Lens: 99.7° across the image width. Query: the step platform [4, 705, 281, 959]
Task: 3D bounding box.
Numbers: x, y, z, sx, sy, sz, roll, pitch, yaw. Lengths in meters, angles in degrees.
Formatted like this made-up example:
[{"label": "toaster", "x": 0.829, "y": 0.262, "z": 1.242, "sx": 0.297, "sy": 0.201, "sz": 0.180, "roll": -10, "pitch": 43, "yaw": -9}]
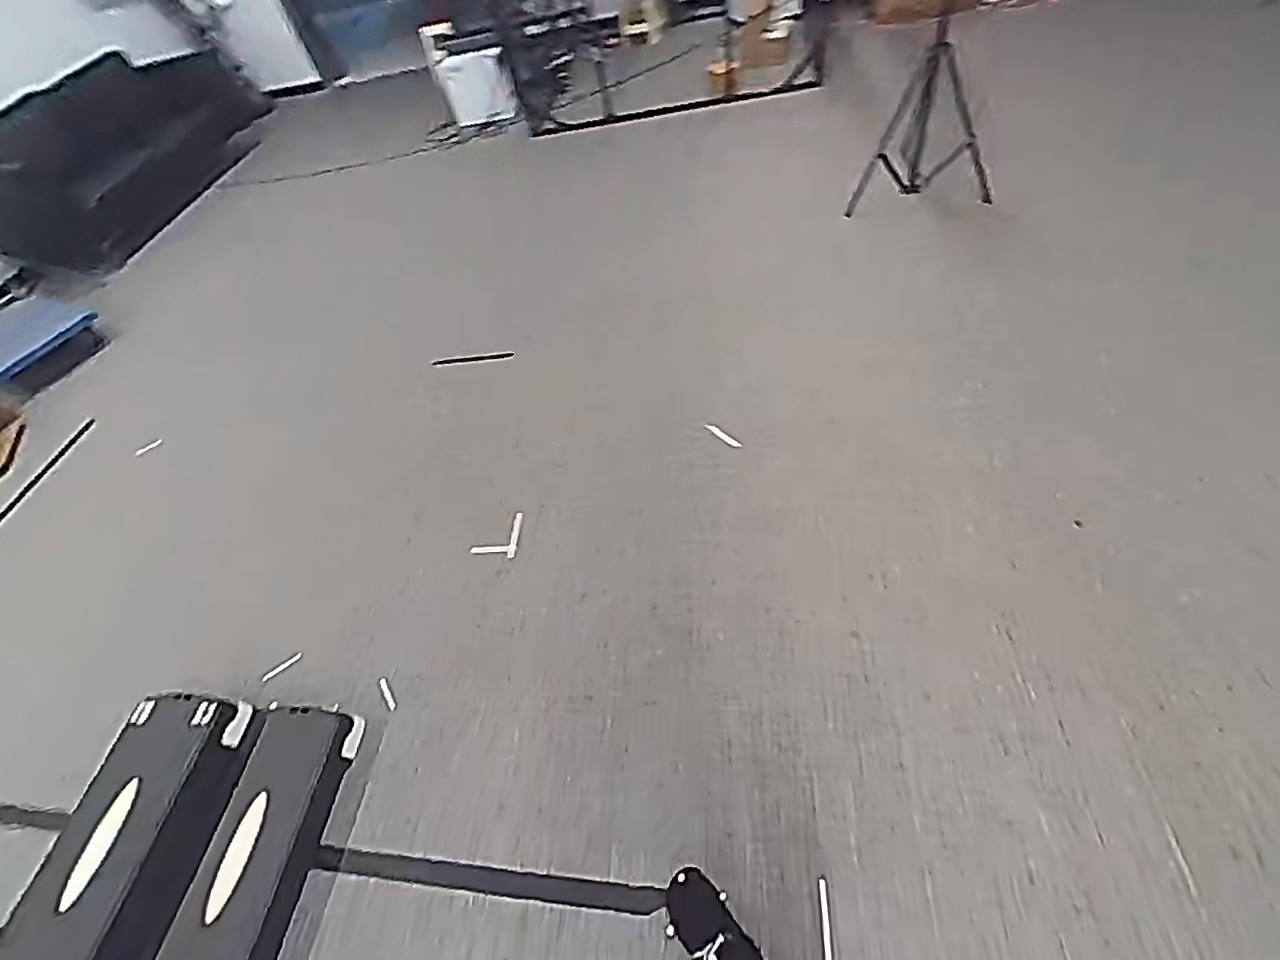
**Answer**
[{"label": "step platform", "x": -1.191, "y": 0.915, "z": 1.308, "sx": 0.286, "sy": 0.204, "sz": 0.684, "roll": -3, "pitch": 51, "yaw": 10}]
